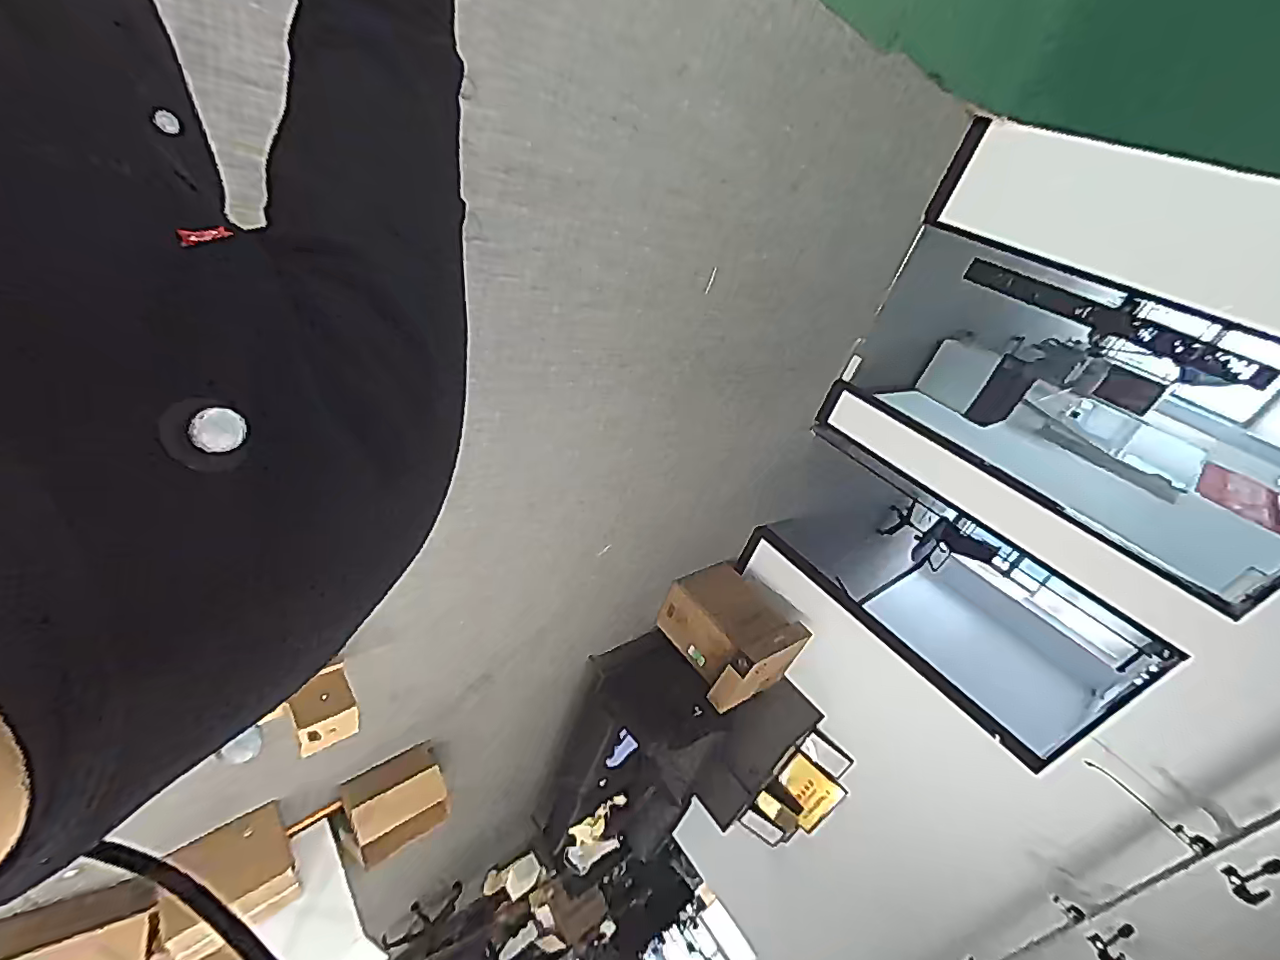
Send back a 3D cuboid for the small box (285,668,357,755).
[{"bbox_3d":[-1.069,0.767,1.807,0.179,0.176,0.168,-15,136,-41],"label":"small box"}]
